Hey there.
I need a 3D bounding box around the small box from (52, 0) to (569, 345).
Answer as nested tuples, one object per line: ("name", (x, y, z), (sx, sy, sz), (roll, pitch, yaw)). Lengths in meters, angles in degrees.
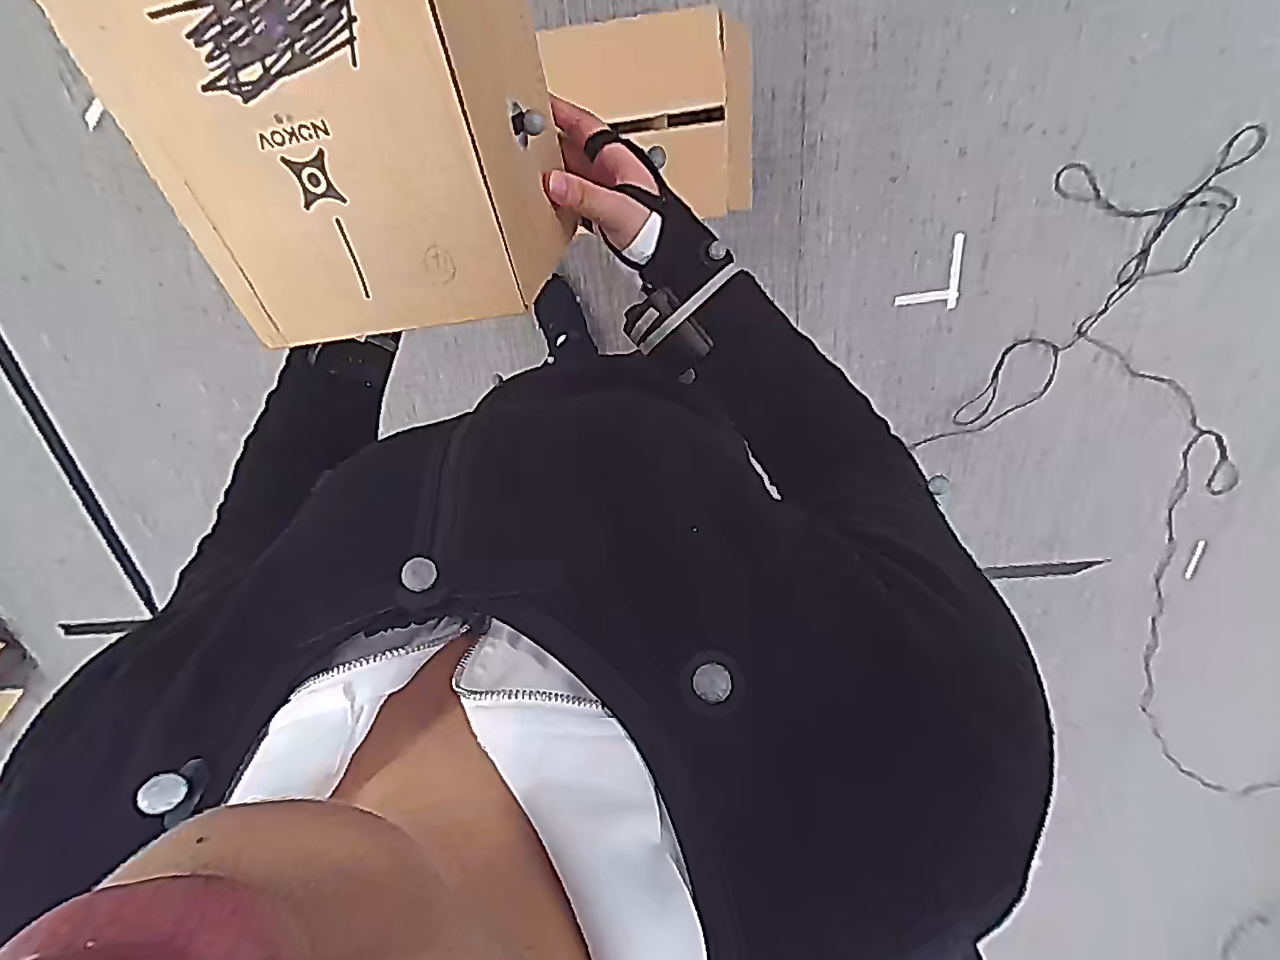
("small box", (-0.150, -0.204, 0.320), (0.168, 0.176, 0.179), (-5, 129, 9))
